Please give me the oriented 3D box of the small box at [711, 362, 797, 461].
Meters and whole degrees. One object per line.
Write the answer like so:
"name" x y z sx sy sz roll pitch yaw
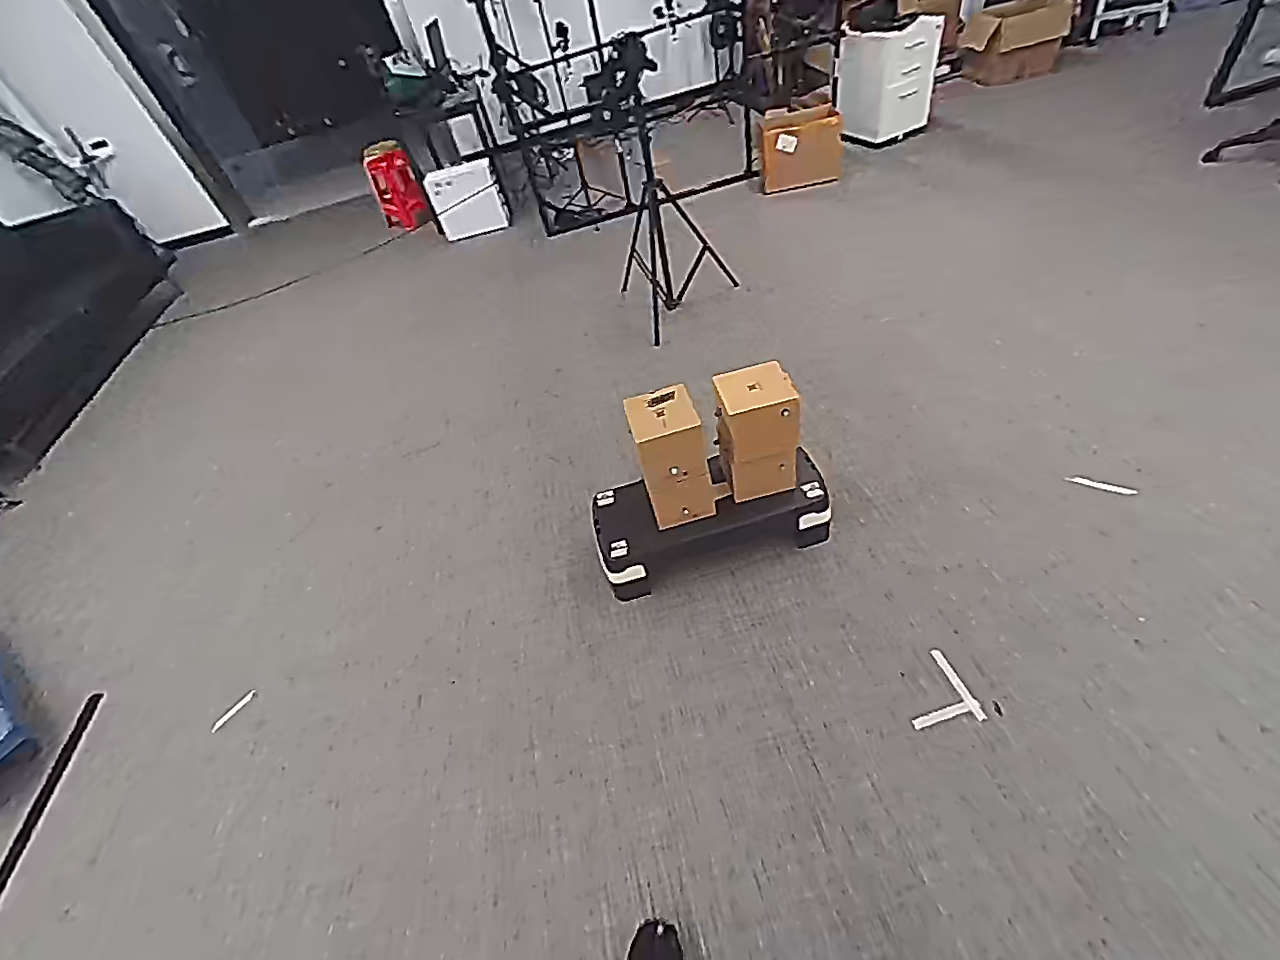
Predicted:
"small box" 0.294 -0.171 1.391 0.179 0.176 0.168 -15 45 0

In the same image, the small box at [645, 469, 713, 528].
"small box" 0.099 0.005 1.505 0.168 0.176 0.179 -16 45 0

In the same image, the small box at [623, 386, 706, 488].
"small box" 0.064 -0.108 1.391 0.168 0.176 0.179 -16 45 0

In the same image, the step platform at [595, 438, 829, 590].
"step platform" 0.208 0.086 1.642 0.684 0.204 0.286 -18 45 -1
